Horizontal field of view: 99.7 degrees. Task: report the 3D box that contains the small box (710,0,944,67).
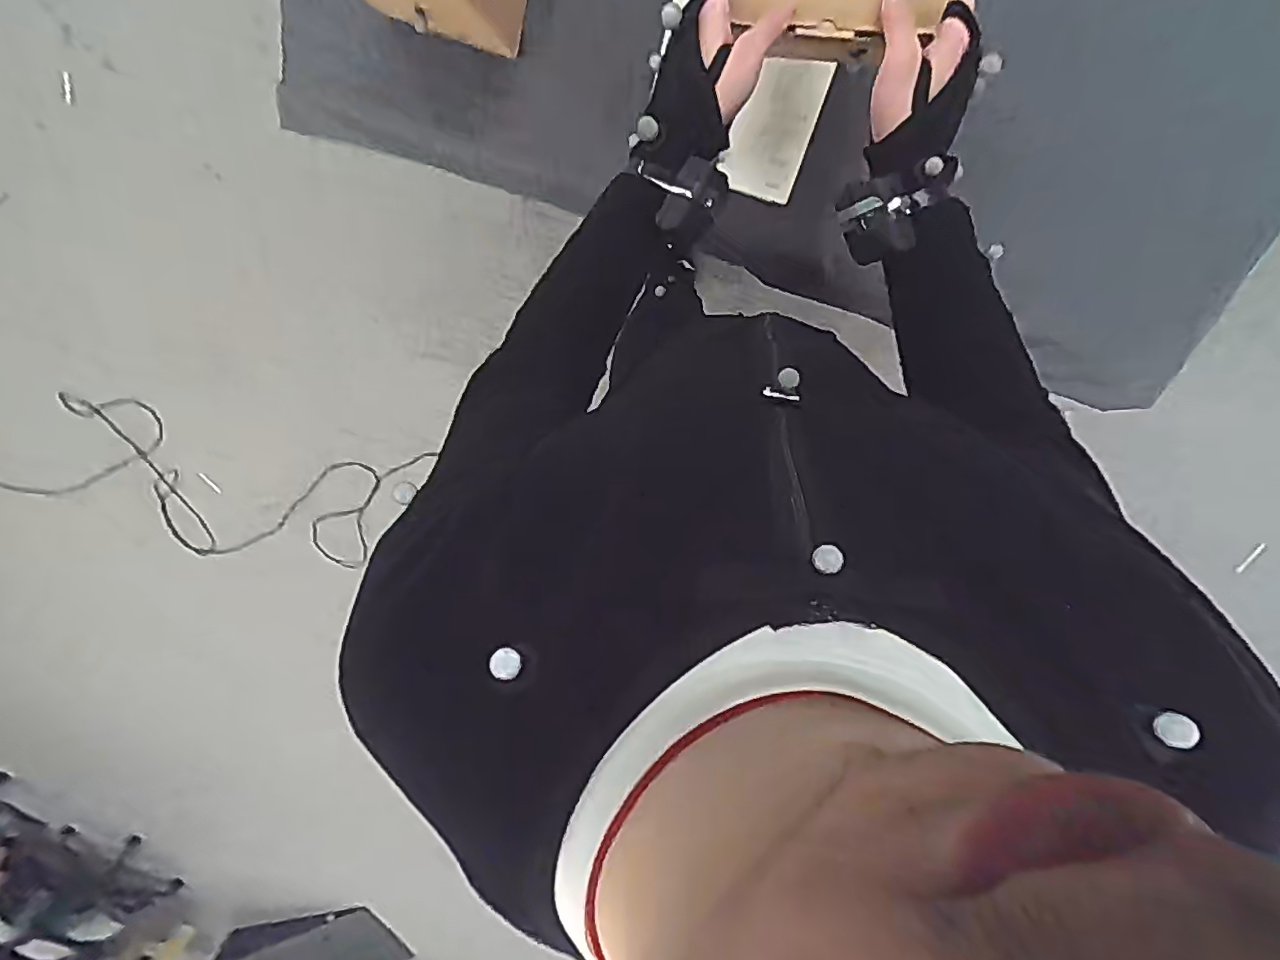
[{"bbox_3d":[0.153,-0.442,0.420,0.168,0.176,0.179,8,121,6],"label":"small box"}]
